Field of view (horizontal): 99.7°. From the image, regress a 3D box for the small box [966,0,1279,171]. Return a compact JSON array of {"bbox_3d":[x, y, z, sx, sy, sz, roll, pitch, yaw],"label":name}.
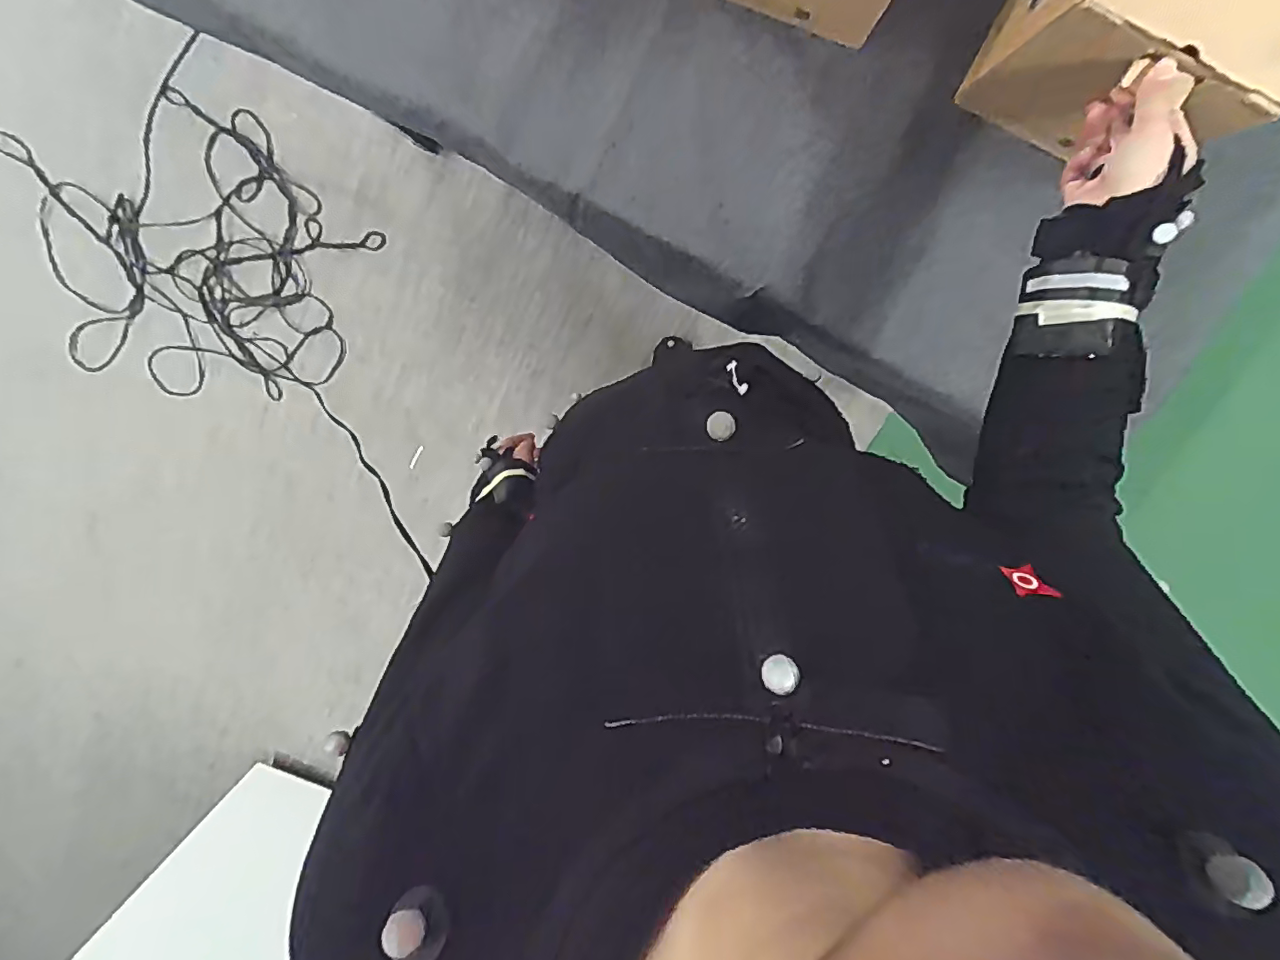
[{"bbox_3d":[0.391,-0.371,0.410,0.168,0.176,0.179,23,105,-5],"label":"small box"}]
